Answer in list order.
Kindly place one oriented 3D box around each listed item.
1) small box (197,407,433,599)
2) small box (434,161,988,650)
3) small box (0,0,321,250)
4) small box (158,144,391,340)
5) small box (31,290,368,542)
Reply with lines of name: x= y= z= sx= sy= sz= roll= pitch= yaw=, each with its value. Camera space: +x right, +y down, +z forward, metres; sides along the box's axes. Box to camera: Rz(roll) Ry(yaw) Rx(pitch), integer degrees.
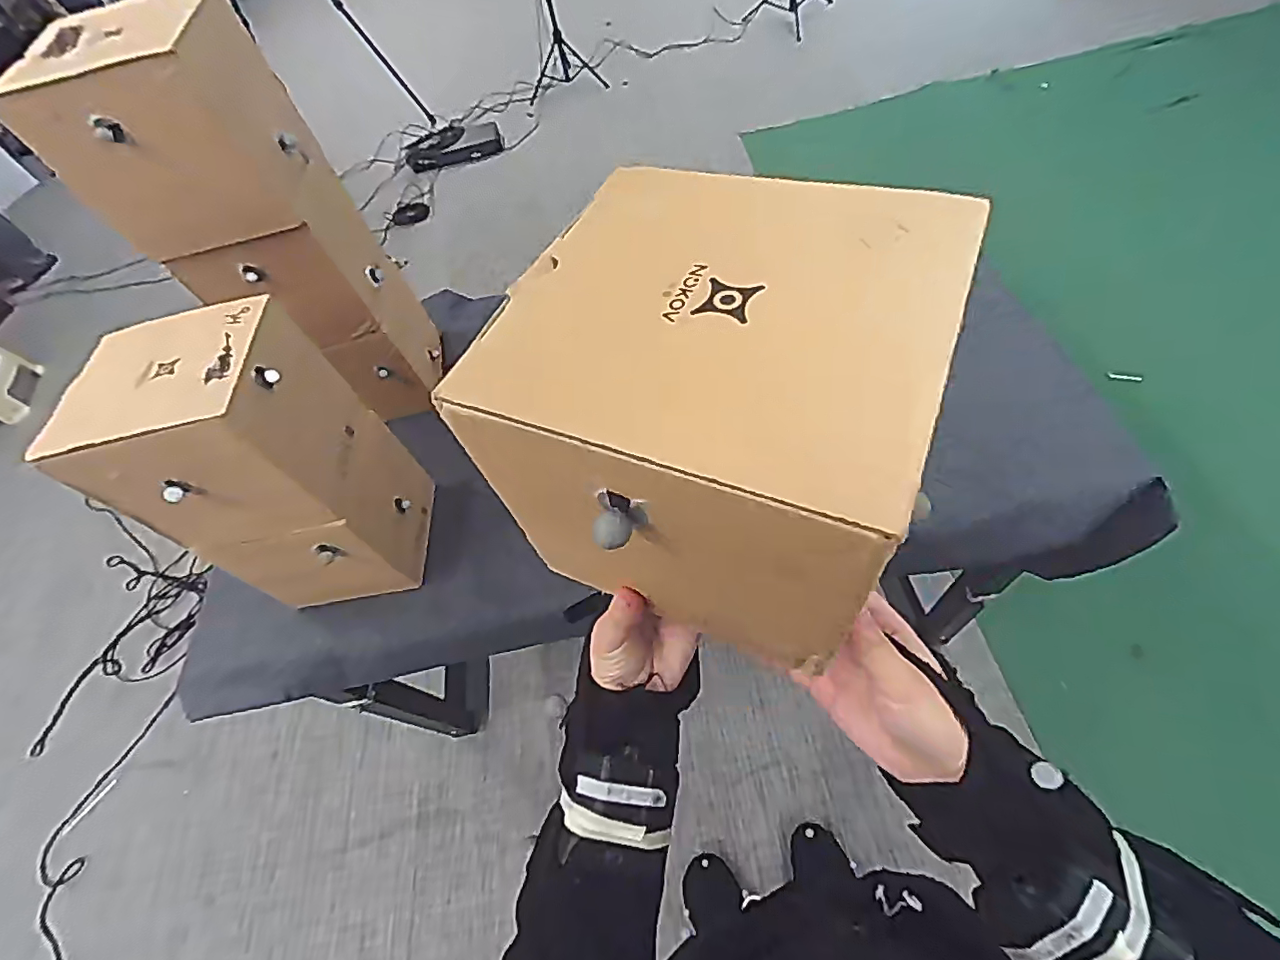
small box: x=-0.384 y=0.035 z=0.681 sx=0.179 sy=0.176 sz=0.168 roll=-10 pitch=55 yaw=4
small box: x=0.043 y=-0.030 z=0.280 sx=0.179 sy=0.176 sz=0.168 roll=17 pitch=63 yaw=21
small box: x=-0.476 y=-0.369 z=0.561 sx=0.179 sy=0.176 sz=0.168 roll=-13 pitch=60 yaw=1
small box: x=-0.456 y=-0.294 z=0.706 sx=0.179 sy=0.176 sz=0.168 roll=-14 pitch=60 yaw=0
small box: x=-0.414 y=-0.056 z=0.548 sx=0.179 sy=0.176 sz=0.168 roll=-14 pitch=56 yaw=3
